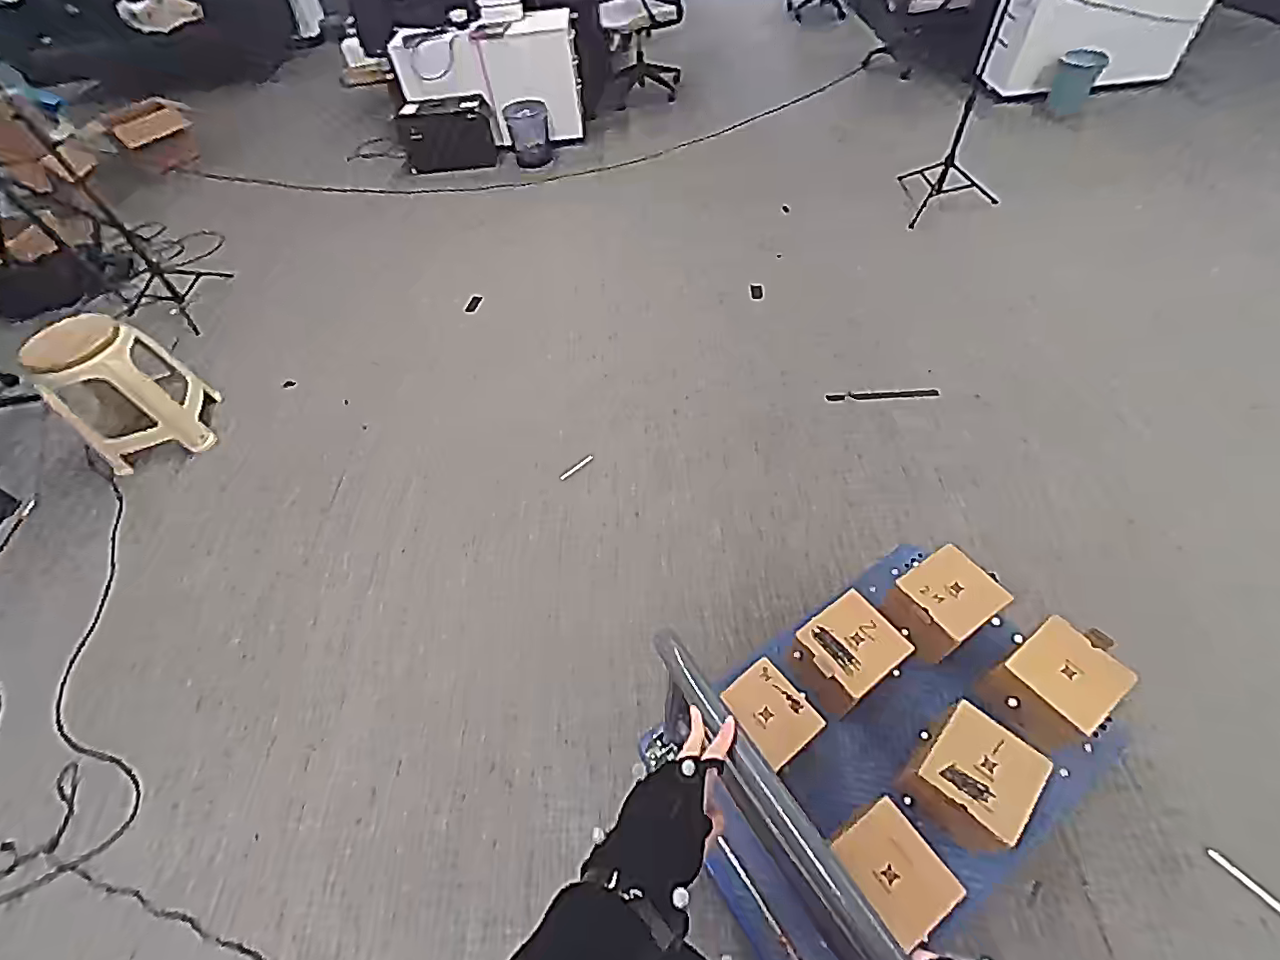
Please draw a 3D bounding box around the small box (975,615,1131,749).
[{"bbox_3d":[0.829,0.418,1.109,0.179,0.176,0.168,-32,57,-18],"label":"small box"}]

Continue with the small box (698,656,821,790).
[{"bbox_3d":[0.236,0.498,1.100,0.179,0.176,0.168,-33,58,-18],"label":"small box"}]

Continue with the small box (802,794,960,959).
[{"bbox_3d":[0.404,0.690,0.944,0.179,0.176,0.168,-29,56,-17],"label":"small box"}]

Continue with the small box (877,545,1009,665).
[{"bbox_3d":[0.670,0.285,1.221,0.179,0.176,0.168,-29,56,-15],"label":"small box"}]

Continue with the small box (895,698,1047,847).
[{"bbox_3d":[0.611,0.557,1.023,0.168,0.176,0.179,37,63,28],"label":"small box"}]
